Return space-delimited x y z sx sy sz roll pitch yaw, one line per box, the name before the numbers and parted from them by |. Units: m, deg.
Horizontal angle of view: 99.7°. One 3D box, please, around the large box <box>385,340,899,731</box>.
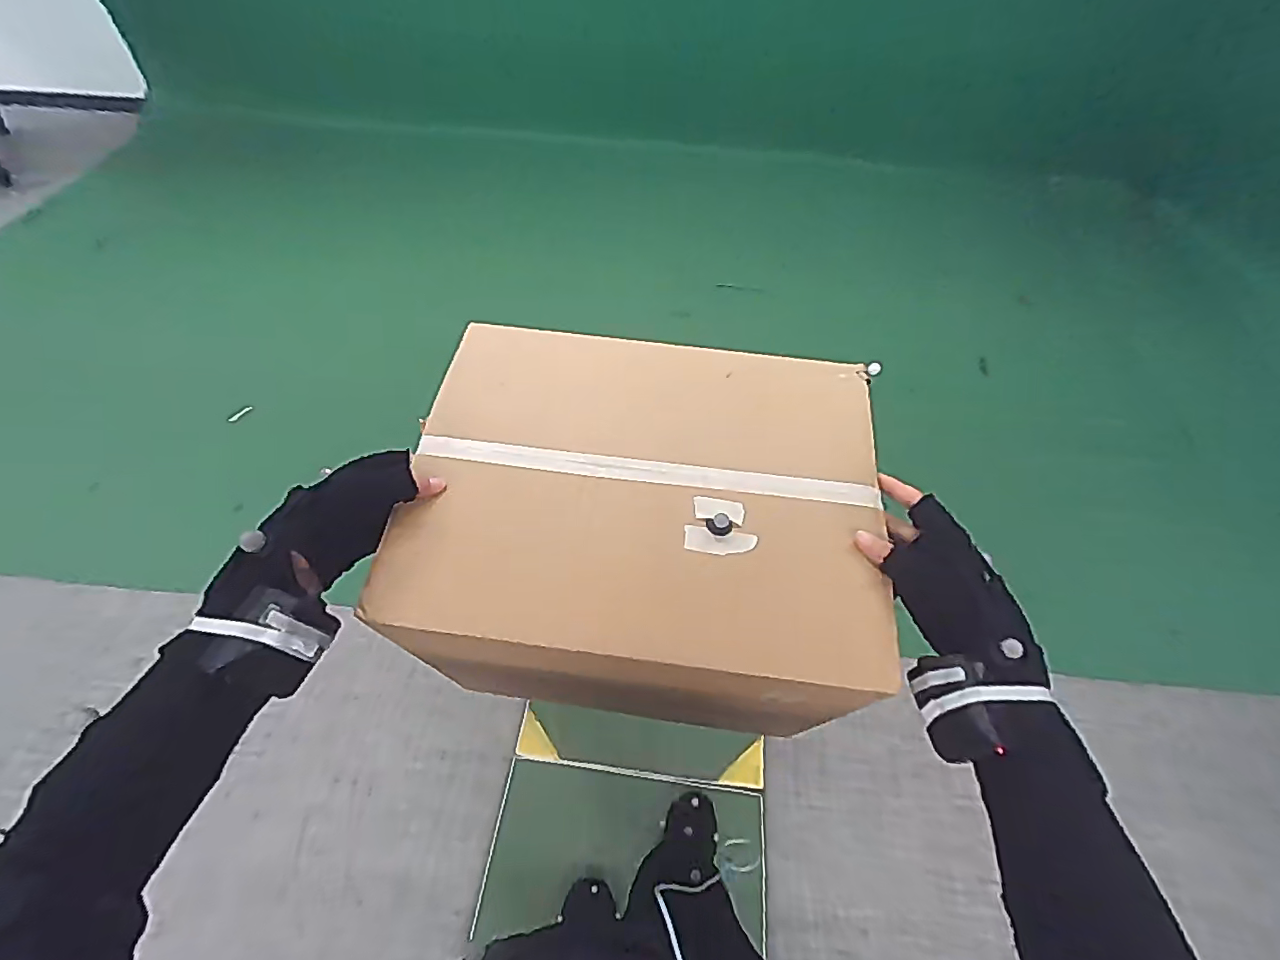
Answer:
large box | 0.008 0.078 0.613 0.408 0.320 0.320 7 59 2
